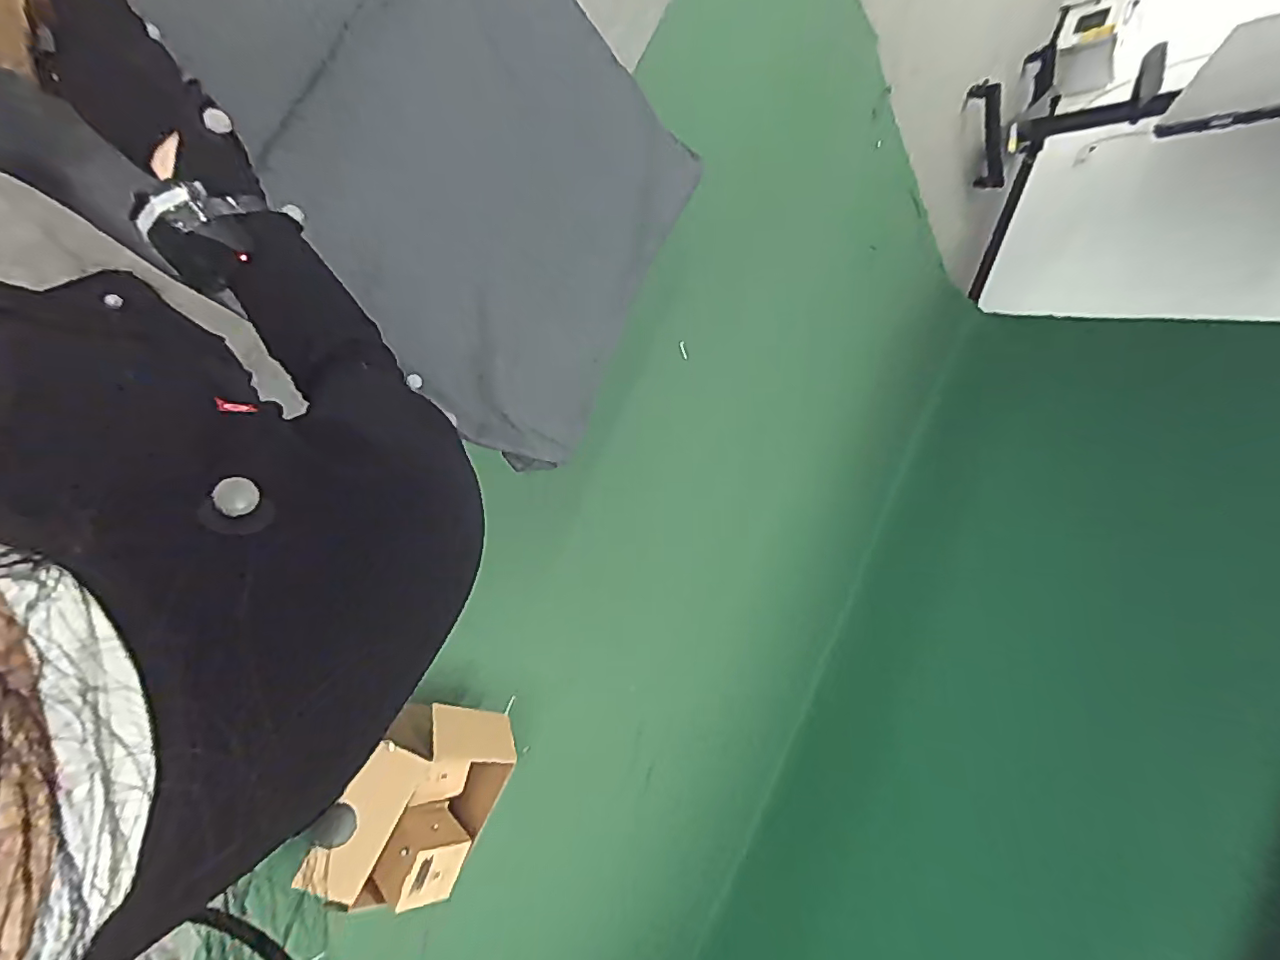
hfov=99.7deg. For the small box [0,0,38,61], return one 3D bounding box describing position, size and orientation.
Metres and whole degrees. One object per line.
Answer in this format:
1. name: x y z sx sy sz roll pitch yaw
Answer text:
1. small box: -0.436 -0.376 0.279 0.168 0.176 0.179 2 100 -46
